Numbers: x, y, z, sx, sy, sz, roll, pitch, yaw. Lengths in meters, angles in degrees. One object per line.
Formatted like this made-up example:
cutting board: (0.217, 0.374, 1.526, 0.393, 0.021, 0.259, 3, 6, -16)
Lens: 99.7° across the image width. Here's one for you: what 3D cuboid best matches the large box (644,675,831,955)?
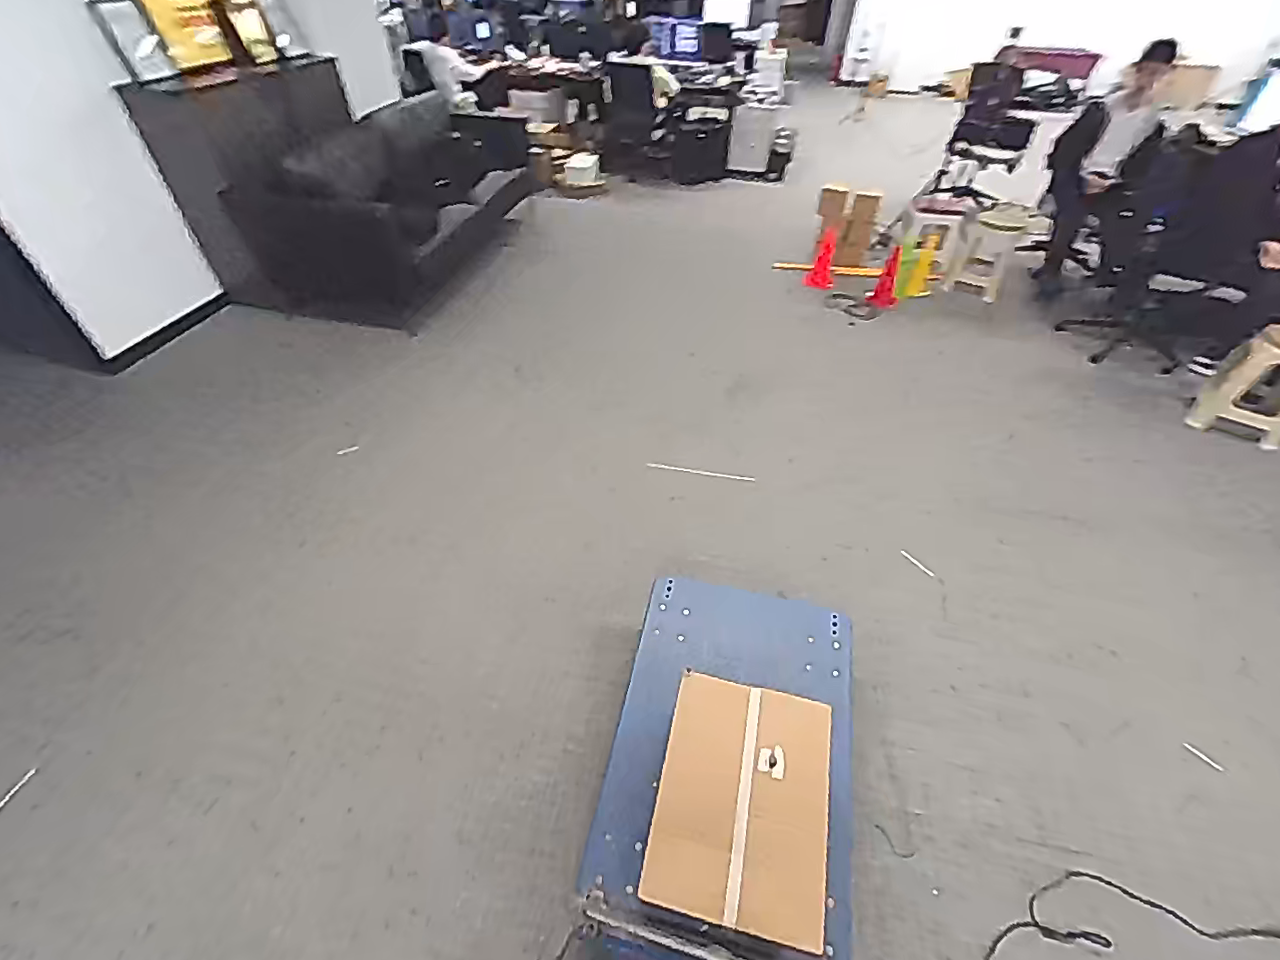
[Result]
large box: (0.203, 0.687, 1.126, 0.320, 0.320, 0.408, 10, 52, 10)
